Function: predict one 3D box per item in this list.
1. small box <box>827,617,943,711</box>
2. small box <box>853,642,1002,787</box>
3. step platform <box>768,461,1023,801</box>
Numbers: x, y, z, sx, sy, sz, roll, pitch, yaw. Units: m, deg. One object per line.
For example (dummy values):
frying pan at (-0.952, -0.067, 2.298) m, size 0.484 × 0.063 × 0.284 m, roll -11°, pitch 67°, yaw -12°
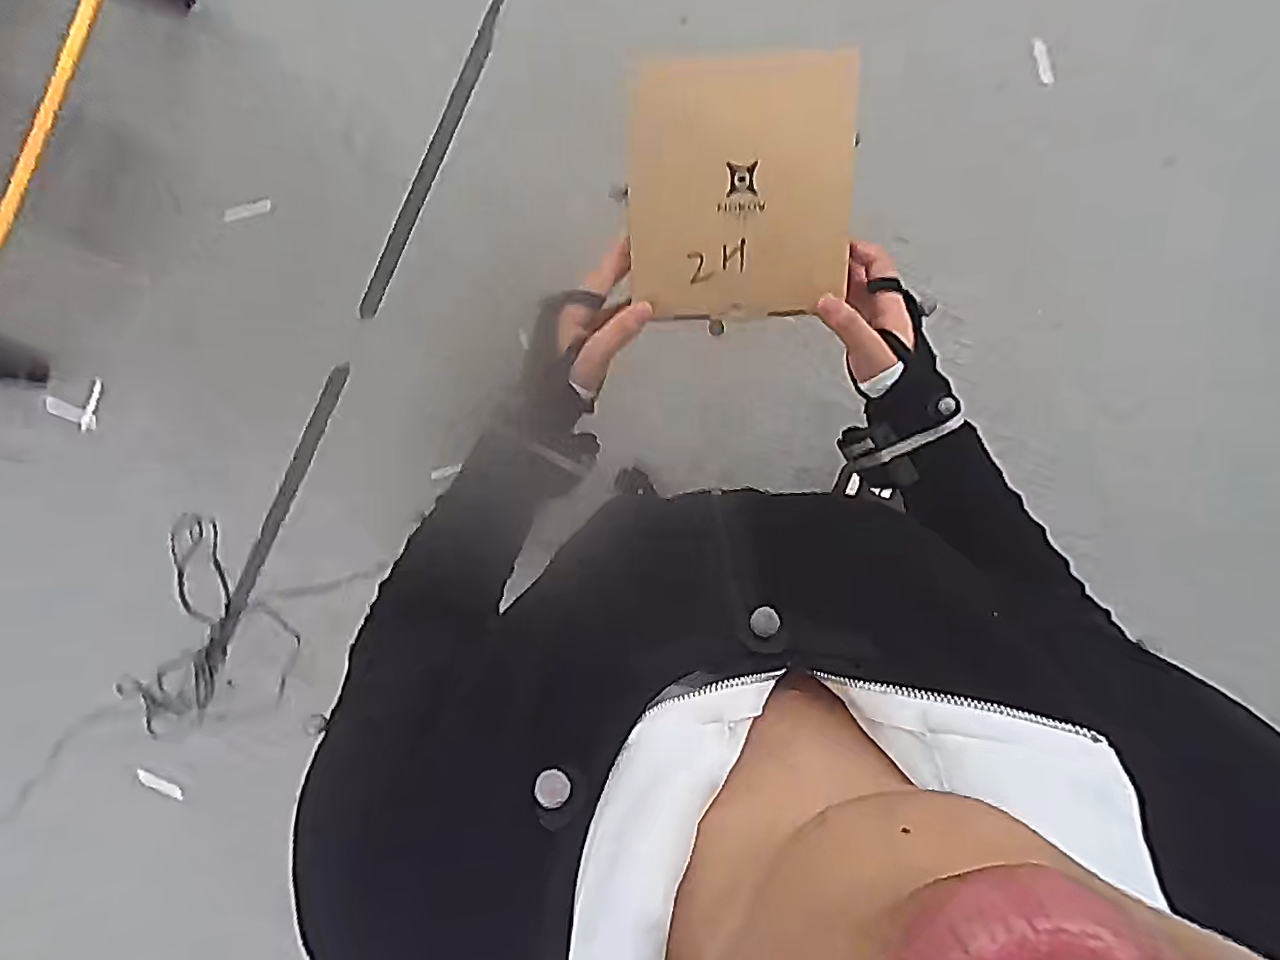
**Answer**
small box at (0.535, 0.432, 1.224) m, size 0.168 × 0.176 × 0.179 m, roll 24°, pitch 91°, yaw 0°
small box at (0.549, 0.446, 1.061) m, size 0.168 × 0.176 × 0.179 m, roll 26°, pitch 91°, yaw 0°
step platform at (0.534, 0.306, 1.184) m, size 0.286 × 0.204 × 0.684 m, roll 22°, pitch 92°, yaw 0°
